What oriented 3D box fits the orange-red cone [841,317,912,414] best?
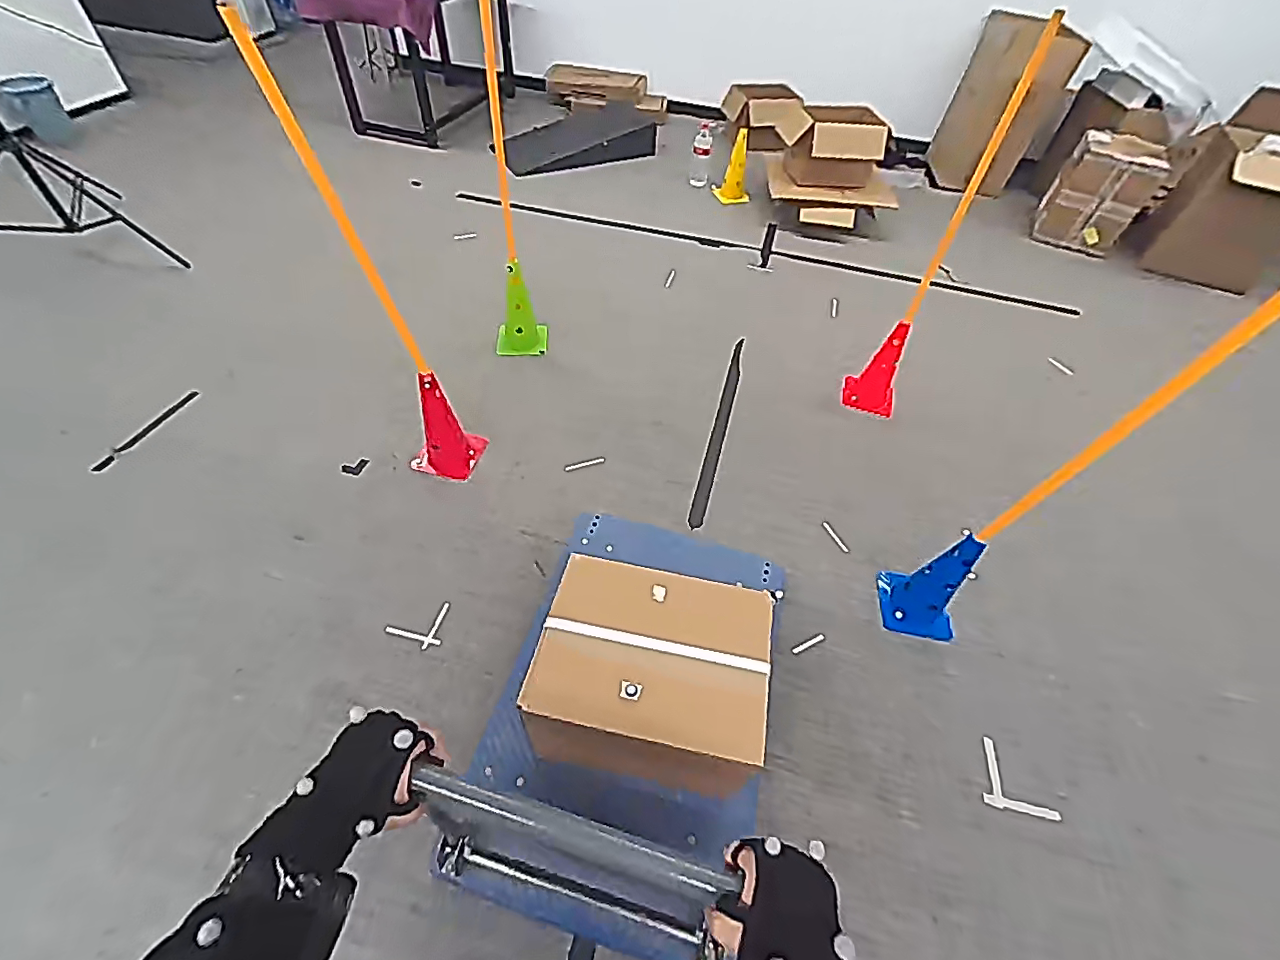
[{"bbox_3d":[0.935,-0.458,2.050,0.199,0.360,0.198,20,53,10],"label":"orange-red cone"}]

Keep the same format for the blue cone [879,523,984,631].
[{"bbox_3d":[0.829,0.249,1.485,0.193,0.380,0.192,11,50,4],"label":"blue cone"}]
